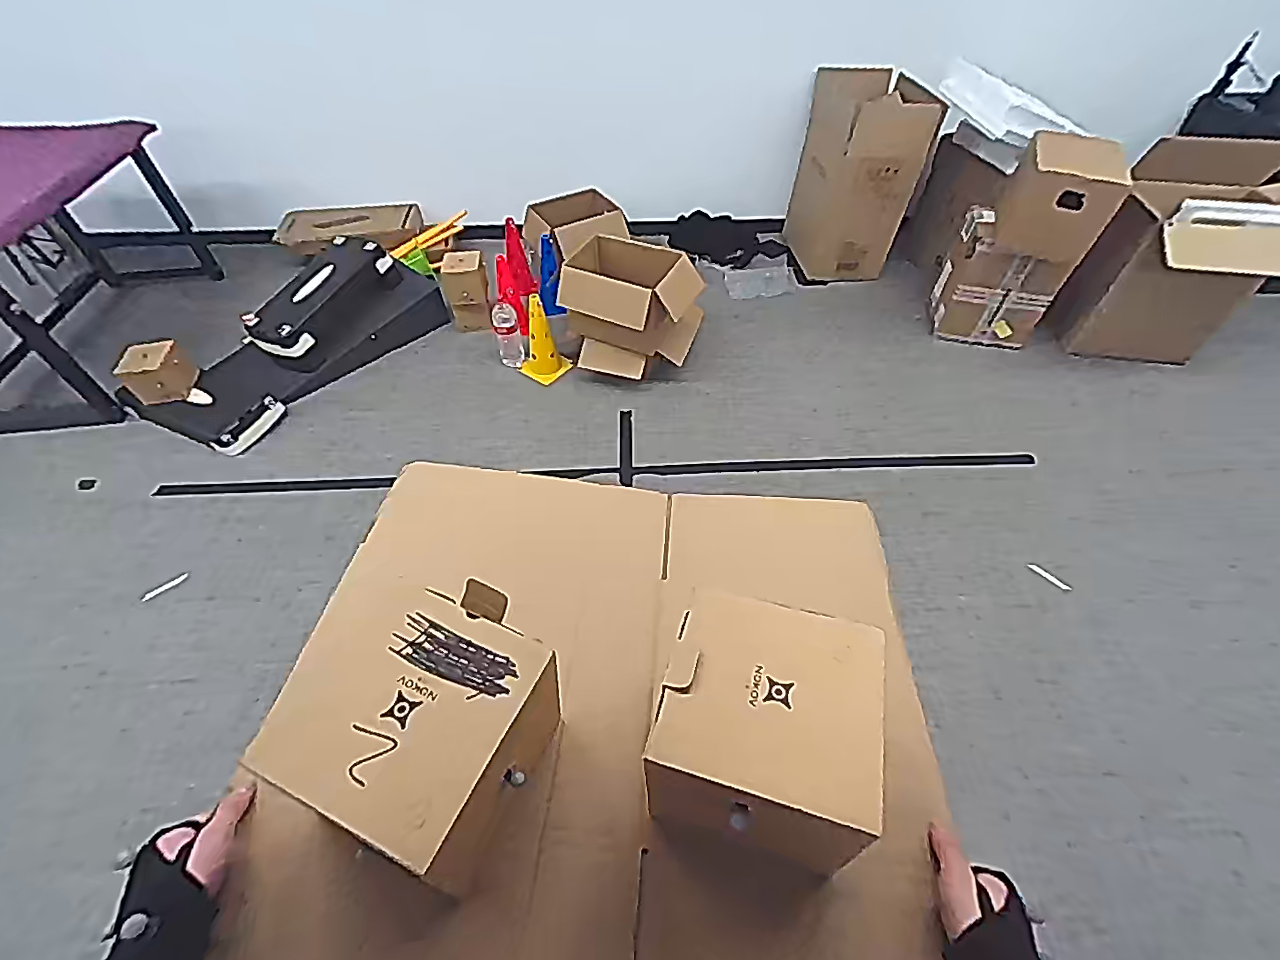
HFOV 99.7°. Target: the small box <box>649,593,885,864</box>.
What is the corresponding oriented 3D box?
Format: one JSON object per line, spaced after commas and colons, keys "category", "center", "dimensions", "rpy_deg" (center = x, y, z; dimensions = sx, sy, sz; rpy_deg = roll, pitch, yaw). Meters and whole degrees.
{"category": "small box", "center": [0.118, 0.238, 0.514], "dimensions": [0.179, 0.176, 0.168], "rpy_deg": [10, 48, 15]}
